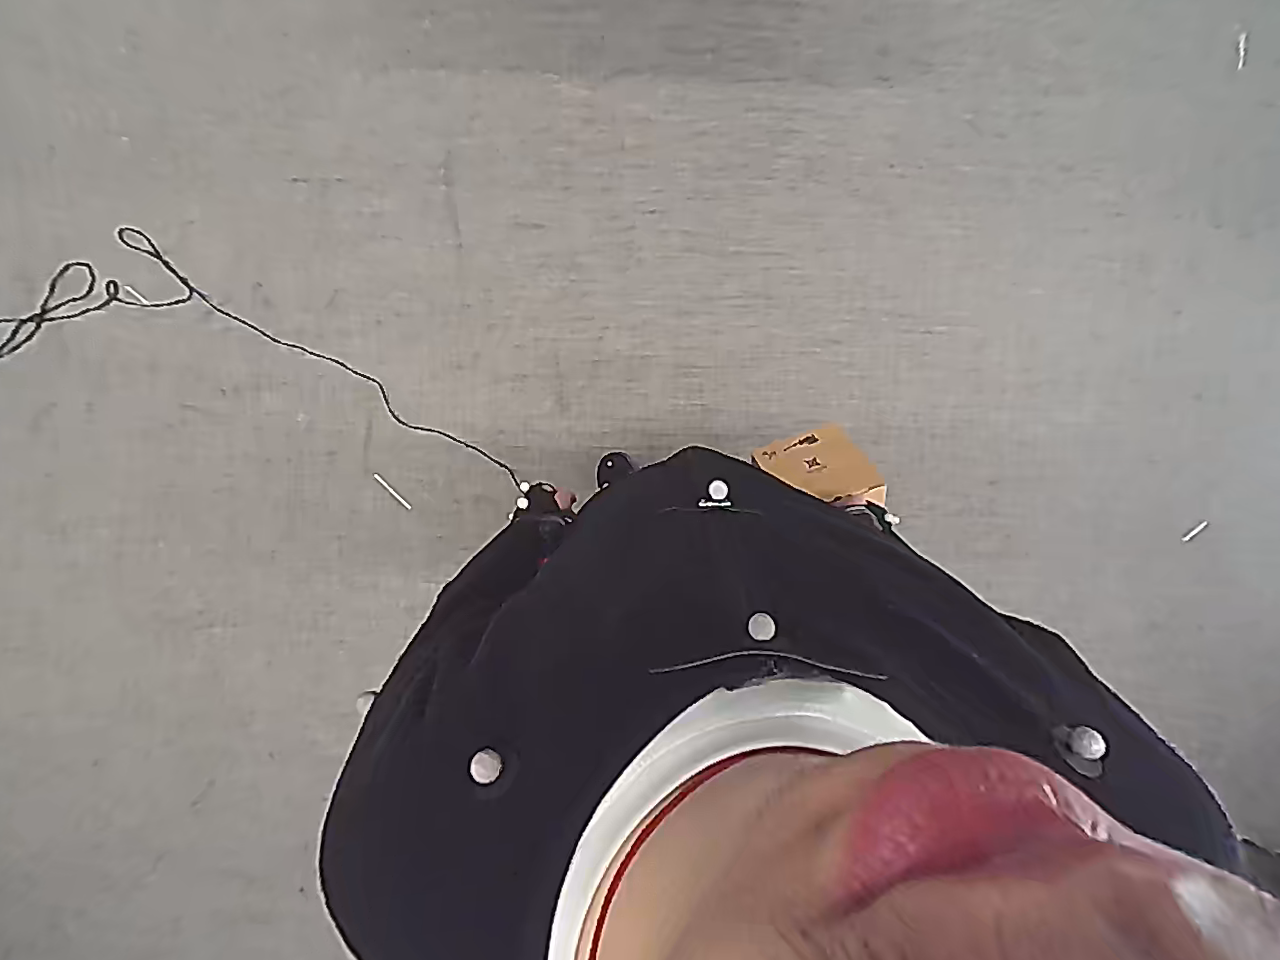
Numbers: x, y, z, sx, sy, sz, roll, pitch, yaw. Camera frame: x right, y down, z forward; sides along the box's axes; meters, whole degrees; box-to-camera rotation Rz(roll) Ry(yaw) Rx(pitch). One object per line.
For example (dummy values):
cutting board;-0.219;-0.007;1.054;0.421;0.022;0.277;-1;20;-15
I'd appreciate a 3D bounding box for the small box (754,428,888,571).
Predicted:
small box;0.323;0.042;0.978;0.168;0.179;0.176;-20;132;-2
